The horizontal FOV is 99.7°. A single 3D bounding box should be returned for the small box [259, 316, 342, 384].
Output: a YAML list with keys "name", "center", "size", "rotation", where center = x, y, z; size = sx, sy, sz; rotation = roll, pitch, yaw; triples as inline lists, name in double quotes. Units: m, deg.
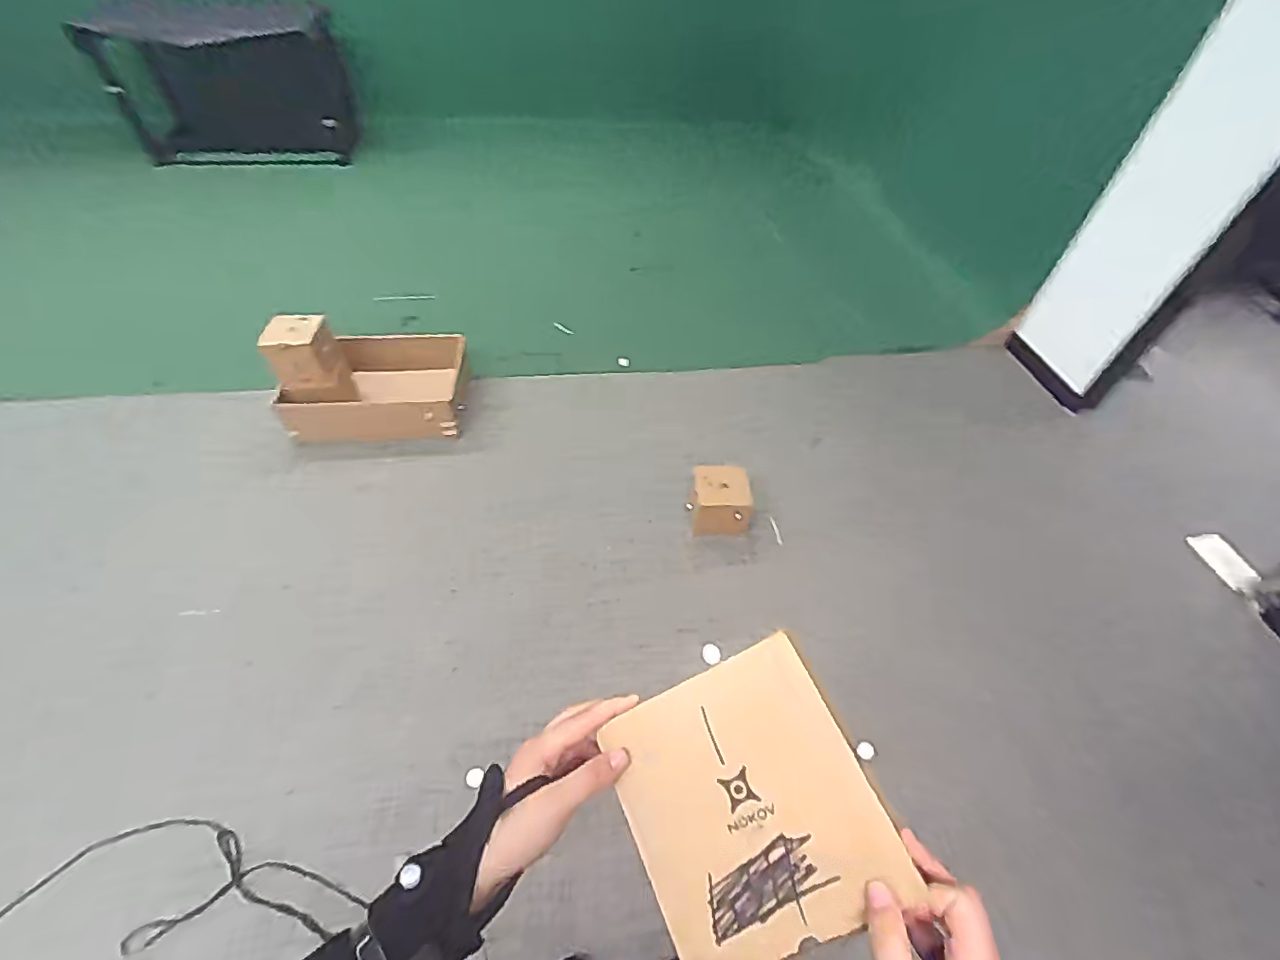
- name: "small box"
  center: [-1.169, -0.448, 1.879]
  size: [0.168, 0.176, 0.179]
  rotation: [-1, 51, -4]

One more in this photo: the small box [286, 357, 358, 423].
- name: "small box"
  center: [-1.165, -0.334, 1.998]
  size: [0.168, 0.176, 0.179]
  rotation: [-5, 52, -7]

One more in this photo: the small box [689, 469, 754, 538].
- name: "small box"
  center: [0.263, 0.081, 1.792]
  size: [0.179, 0.176, 0.168]
  rotation: [0, 49, -3]
